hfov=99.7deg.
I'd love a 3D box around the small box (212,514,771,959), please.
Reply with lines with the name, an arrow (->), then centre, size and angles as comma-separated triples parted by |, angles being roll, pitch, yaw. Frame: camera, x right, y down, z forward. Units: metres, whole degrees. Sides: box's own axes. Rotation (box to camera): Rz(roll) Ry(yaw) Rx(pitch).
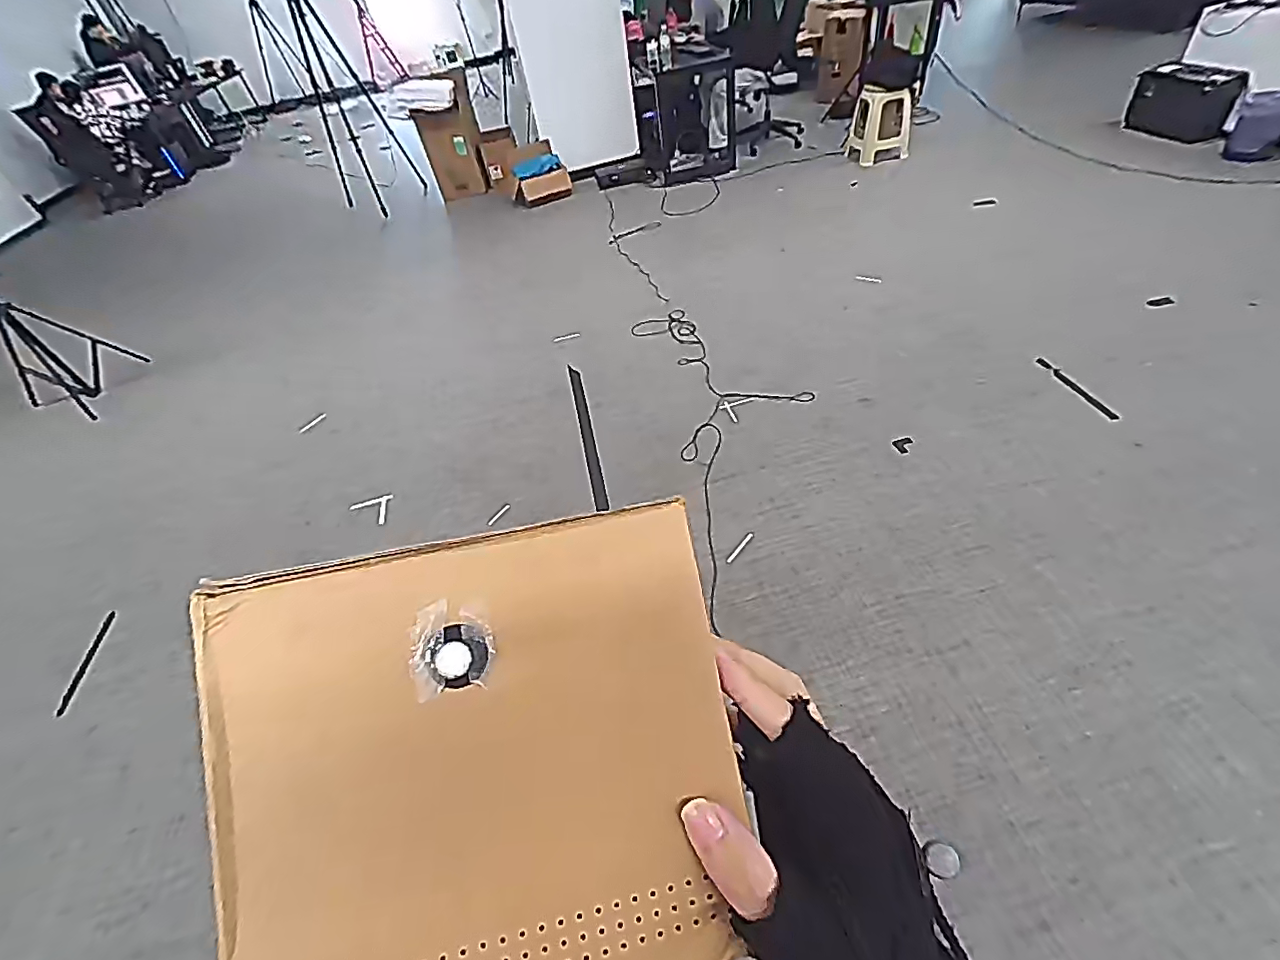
small box -> -0.059, 0.122, 0.264 | 0.179, 0.168, 0.176 | -9, 82, -9
